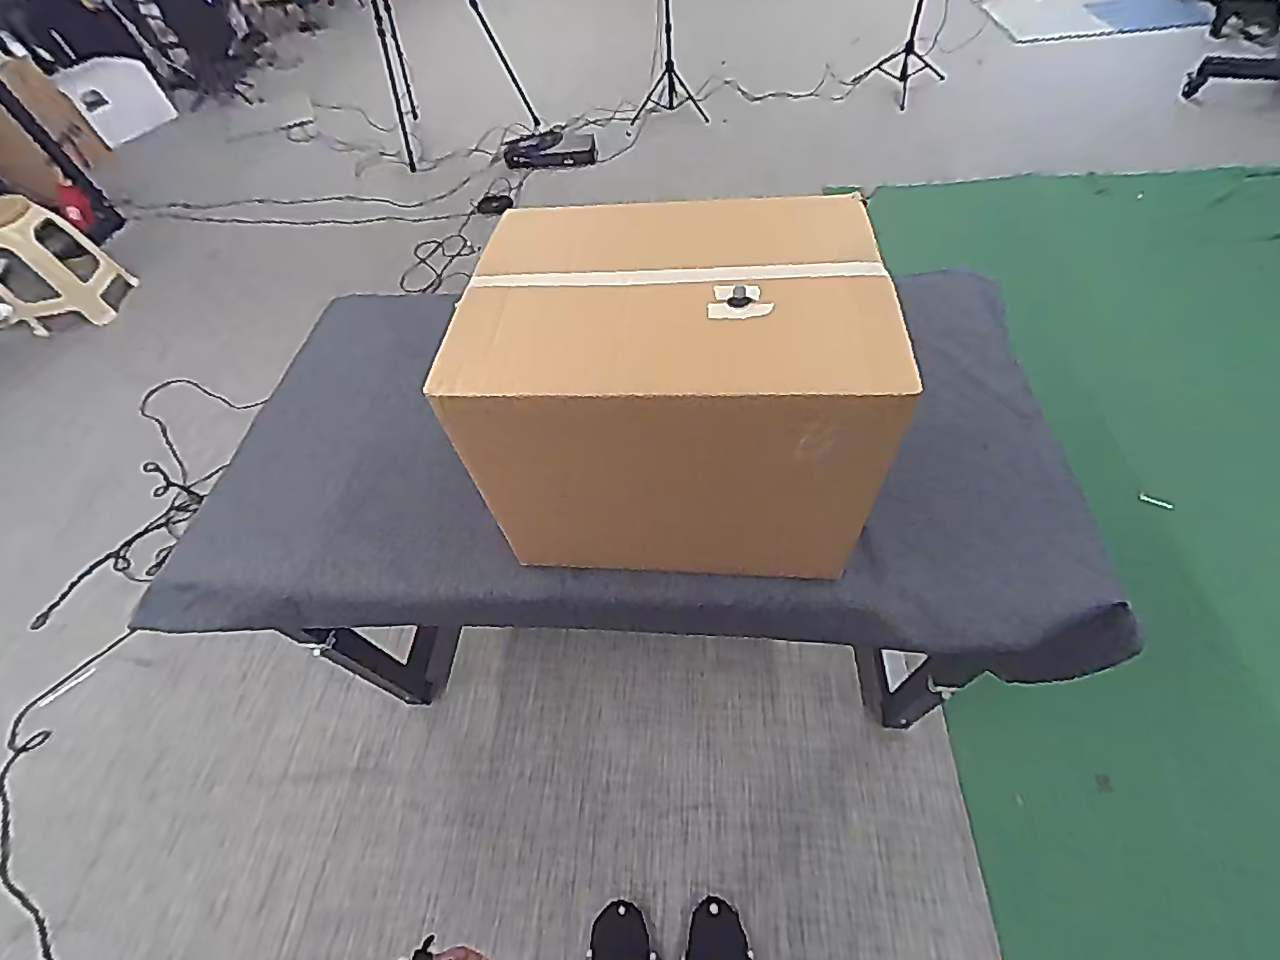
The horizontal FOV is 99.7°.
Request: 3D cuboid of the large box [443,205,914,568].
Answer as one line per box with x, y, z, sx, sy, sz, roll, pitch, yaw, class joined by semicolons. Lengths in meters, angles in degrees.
0.044;-0.101;0.656;0.408;0.320;0.320;1;53;7;large box
